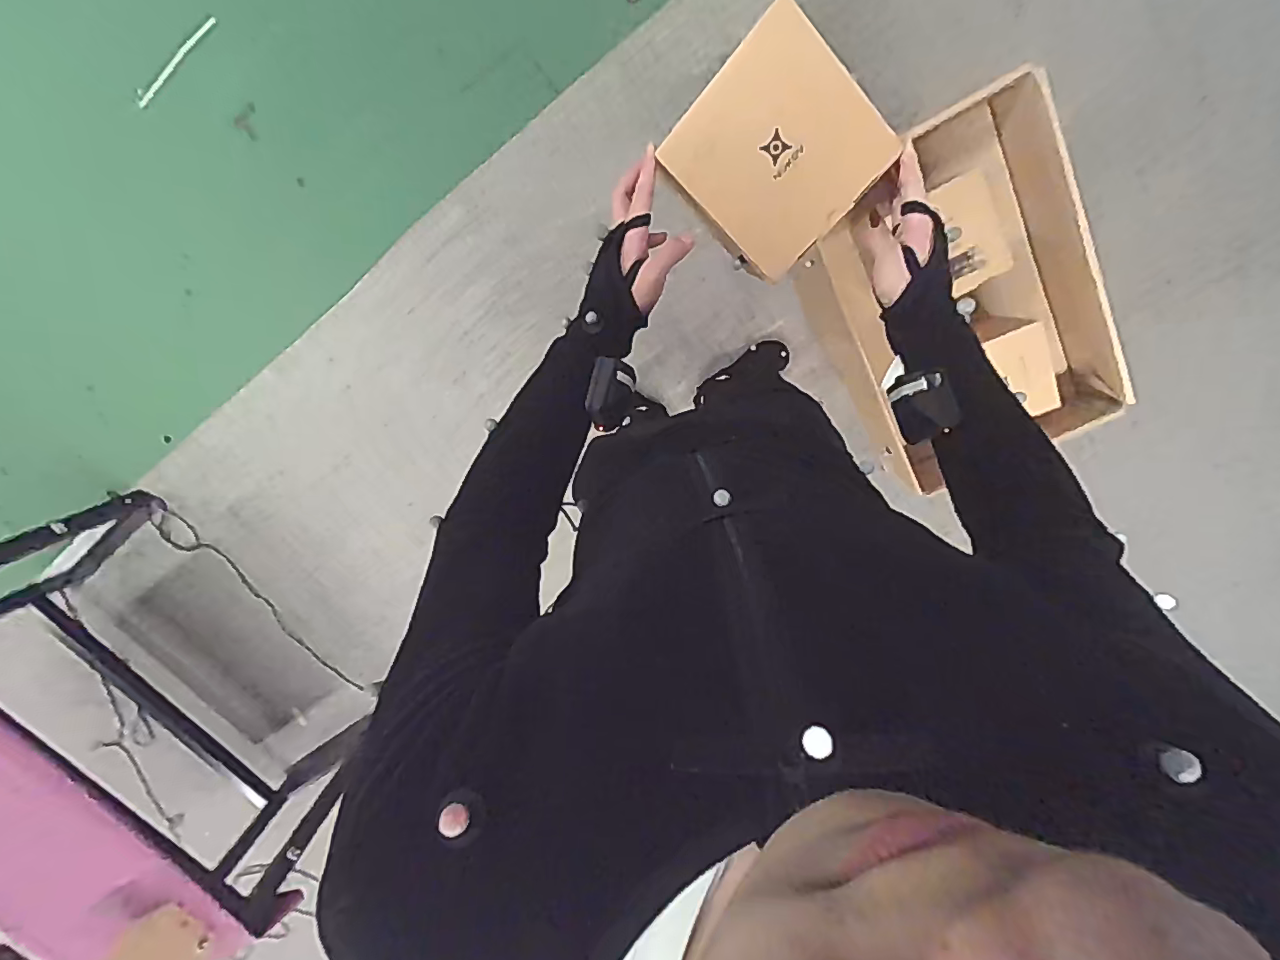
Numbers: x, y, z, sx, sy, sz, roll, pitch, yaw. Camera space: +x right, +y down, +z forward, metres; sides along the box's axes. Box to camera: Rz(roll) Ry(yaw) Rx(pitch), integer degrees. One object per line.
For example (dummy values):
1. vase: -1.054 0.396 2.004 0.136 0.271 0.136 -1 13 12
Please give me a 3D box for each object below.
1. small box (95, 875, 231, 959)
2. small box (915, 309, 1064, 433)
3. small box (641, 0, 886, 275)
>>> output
1. small box: -1.184 1.139 1.357 0.179 0.176 0.168 -33 104 18
2. small box: 0.644 -0.211 1.021 0.179 0.176 0.168 -21 108 13
3. small box: 0.117 -0.352 0.584 0.179 0.176 0.168 39 112 -17
